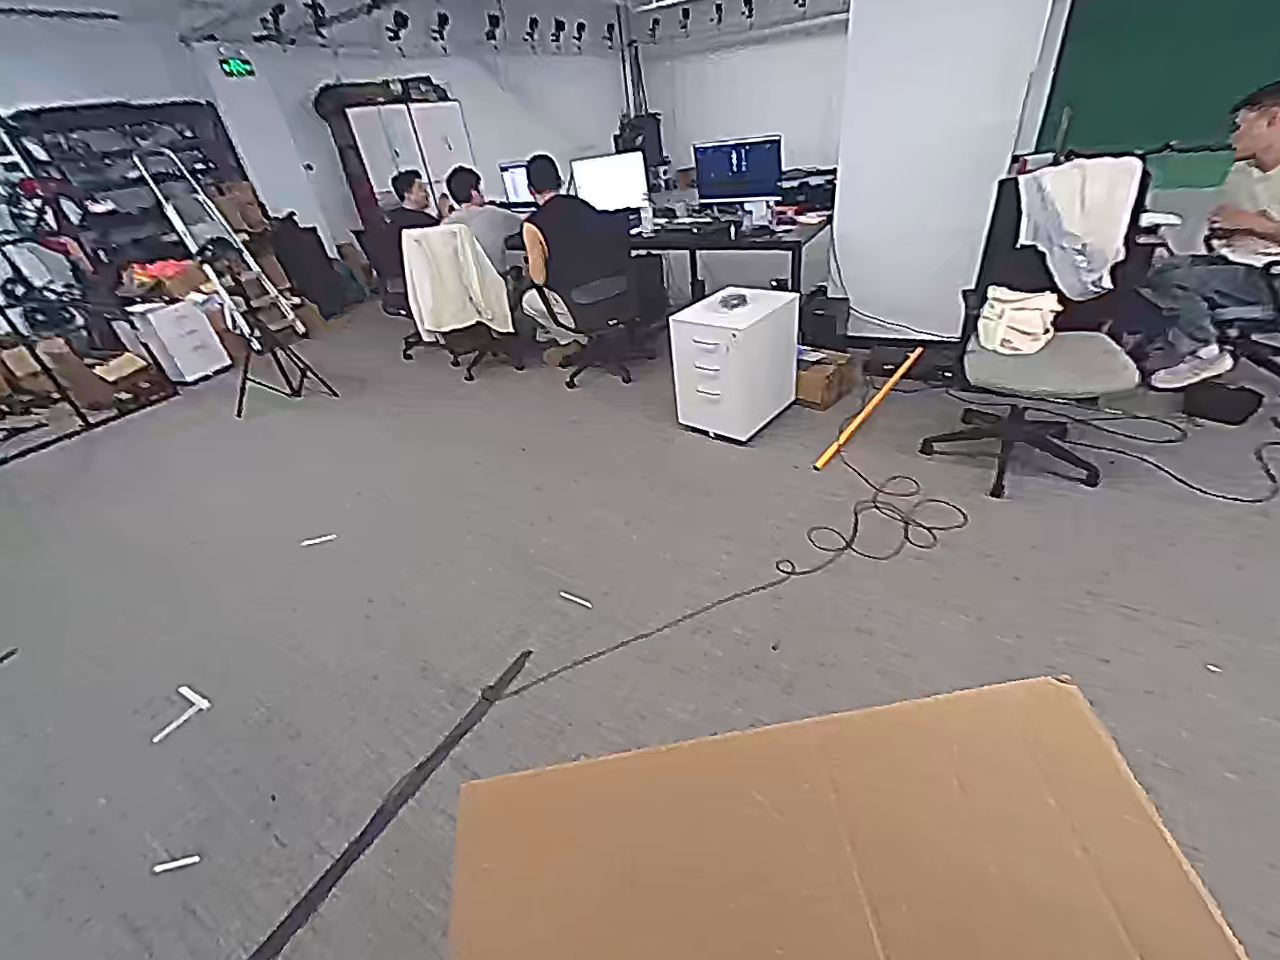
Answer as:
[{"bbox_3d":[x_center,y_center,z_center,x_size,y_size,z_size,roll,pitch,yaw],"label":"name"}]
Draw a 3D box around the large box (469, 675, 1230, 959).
[{"bbox_3d":[0.124,0.378,0.387,0.408,0.320,0.320,-12,53,3],"label":"large box"}]
